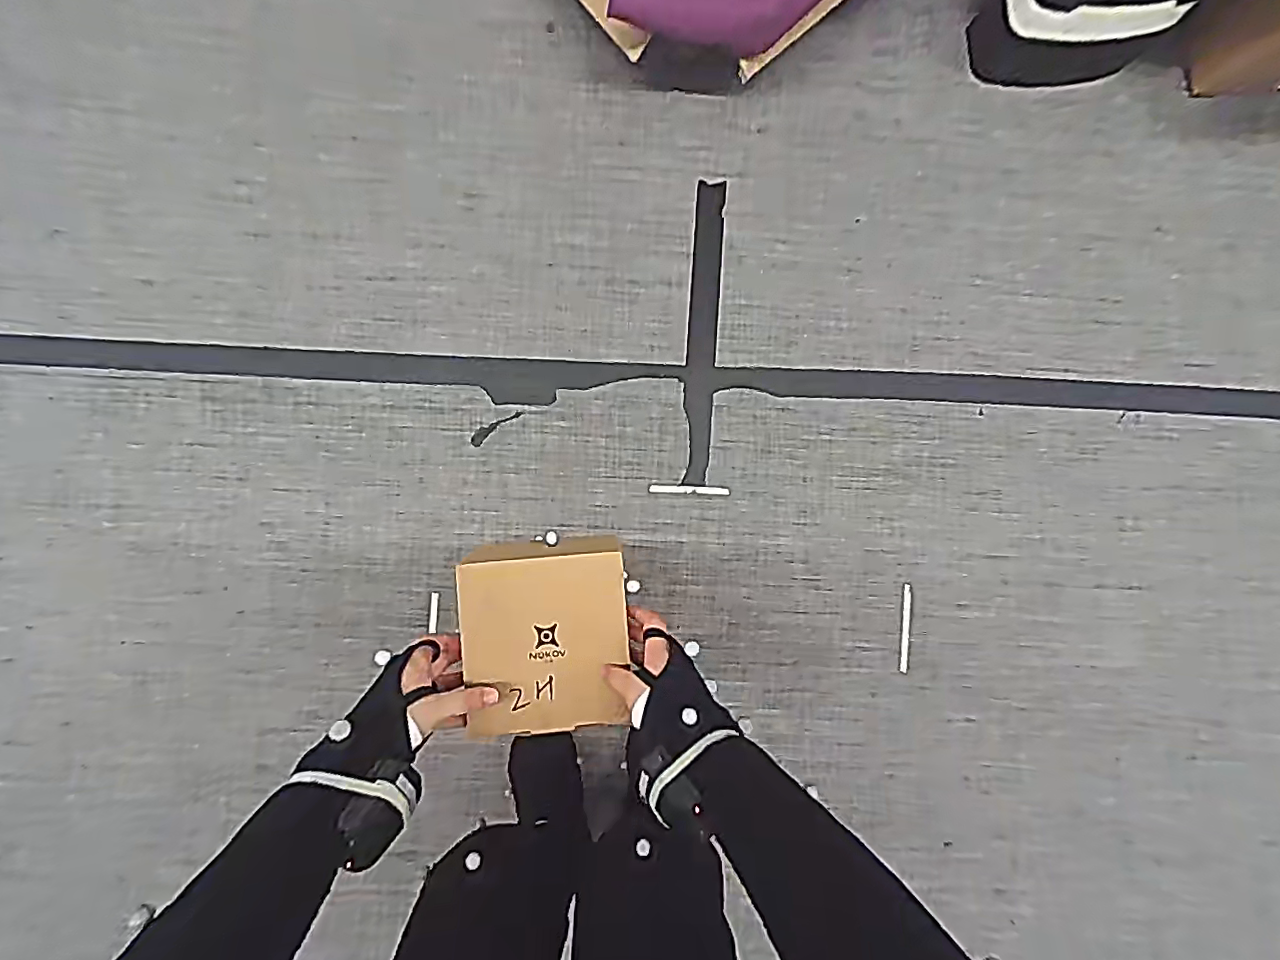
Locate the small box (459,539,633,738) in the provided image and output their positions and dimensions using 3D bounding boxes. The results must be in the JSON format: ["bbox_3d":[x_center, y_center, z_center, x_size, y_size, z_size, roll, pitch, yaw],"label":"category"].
[{"bbox_3d":[-0.100,0.164,0.618,0.168,0.176,0.179,-4,91,-4],"label":"small box"}]
